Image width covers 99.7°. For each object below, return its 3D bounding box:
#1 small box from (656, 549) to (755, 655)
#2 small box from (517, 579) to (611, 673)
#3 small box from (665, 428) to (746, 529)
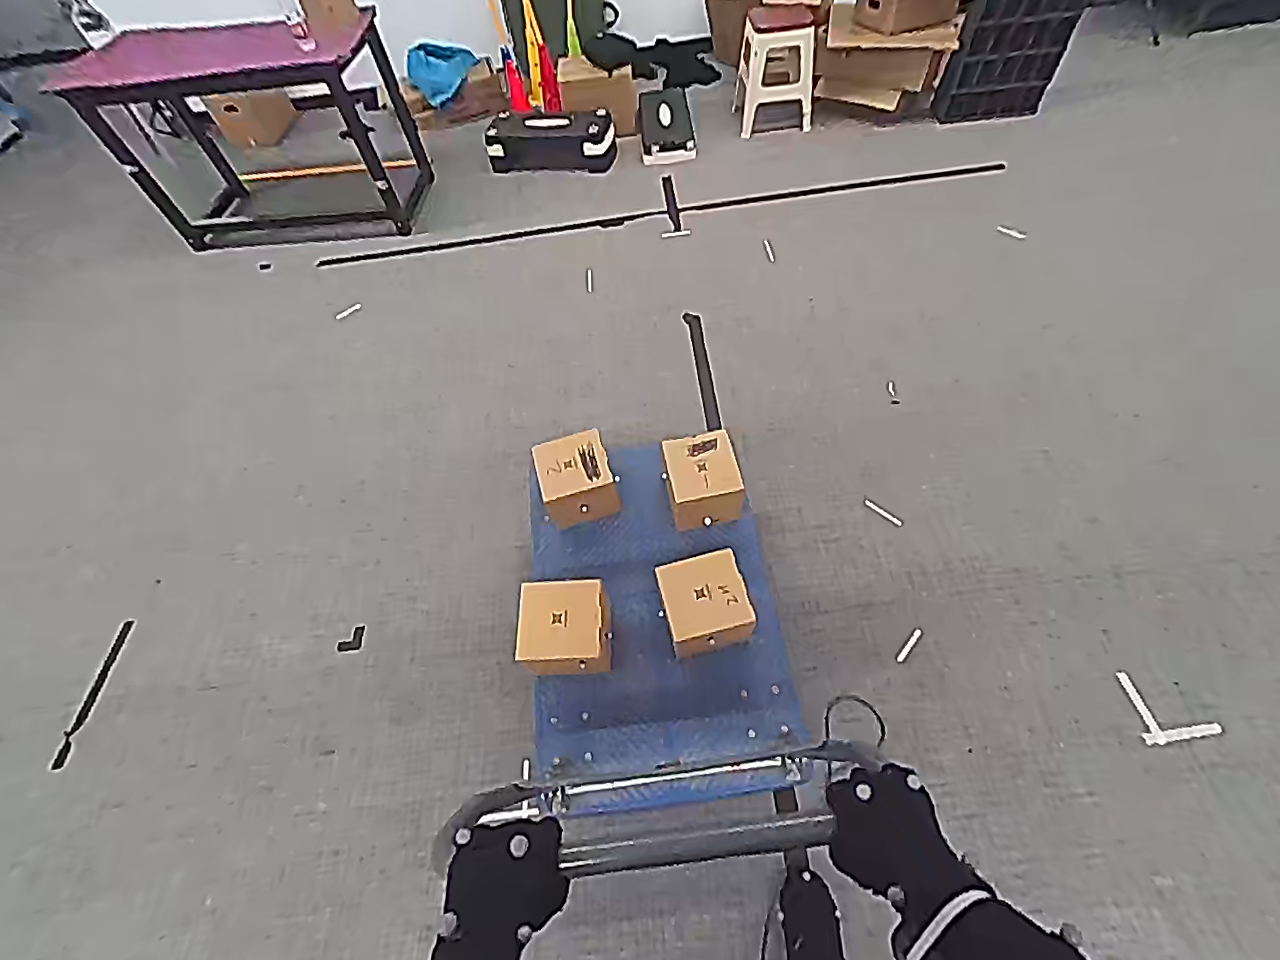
[{"bbox_3d":[0.143,0.275,1.198,0.179,0.176,0.168,-14,61,-2],"label":"small box"},{"bbox_3d":[-0.160,0.327,1.200,0.179,0.176,0.168,-3,61,2],"label":"small box"},{"bbox_3d":[0.157,0.000,1.350,0.168,0.176,0.179,-11,61,0],"label":"small box"}]
